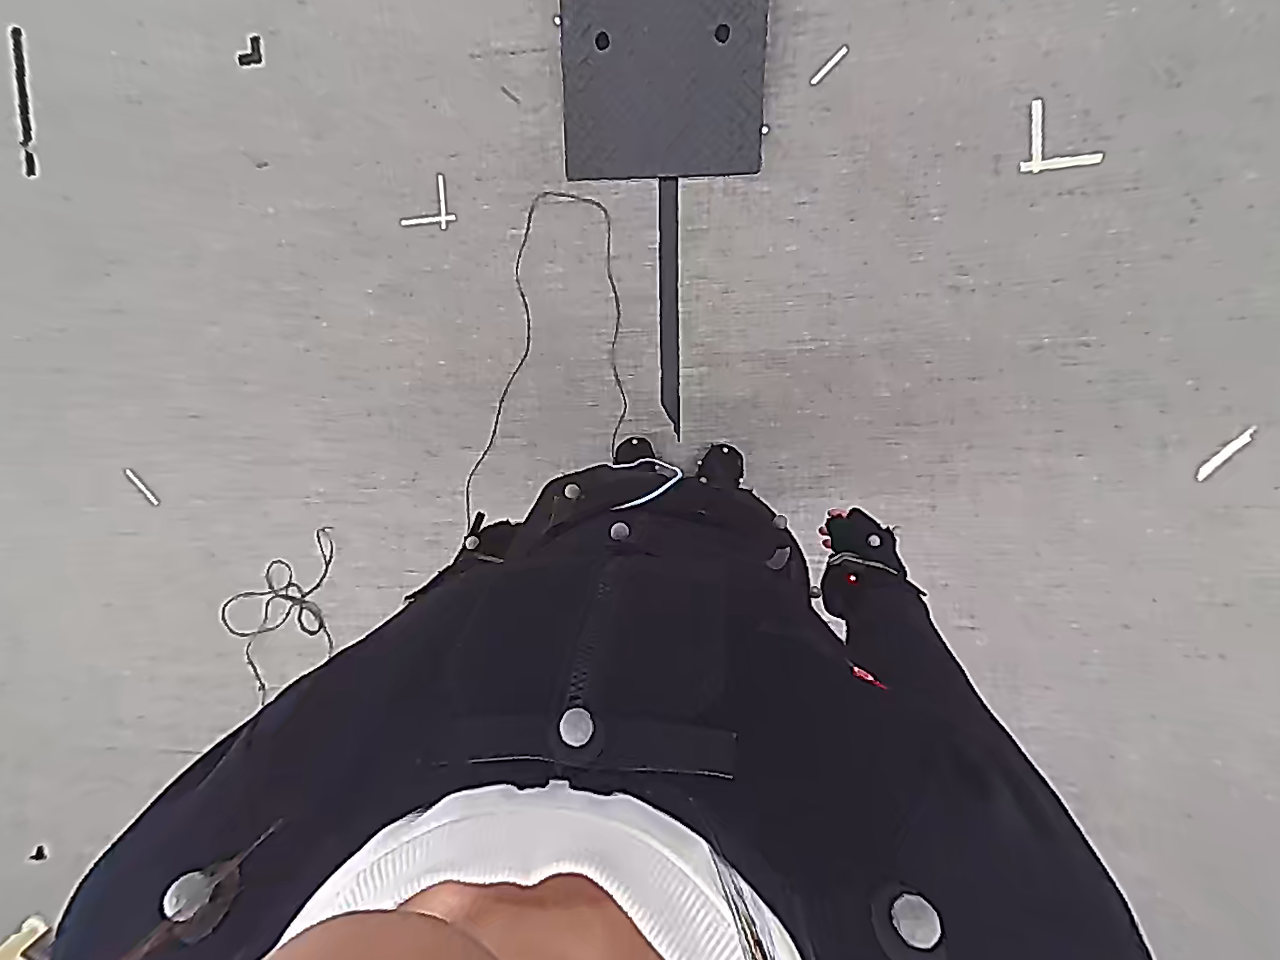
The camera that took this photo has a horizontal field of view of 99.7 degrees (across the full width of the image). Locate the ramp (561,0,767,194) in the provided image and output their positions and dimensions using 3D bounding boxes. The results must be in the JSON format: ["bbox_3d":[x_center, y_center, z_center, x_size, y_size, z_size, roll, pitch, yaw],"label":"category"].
[{"bbox_3d":[0.051,-1.232,1.262,0.509,0.206,0.991,-1,95,7],"label":"ramp"}]
